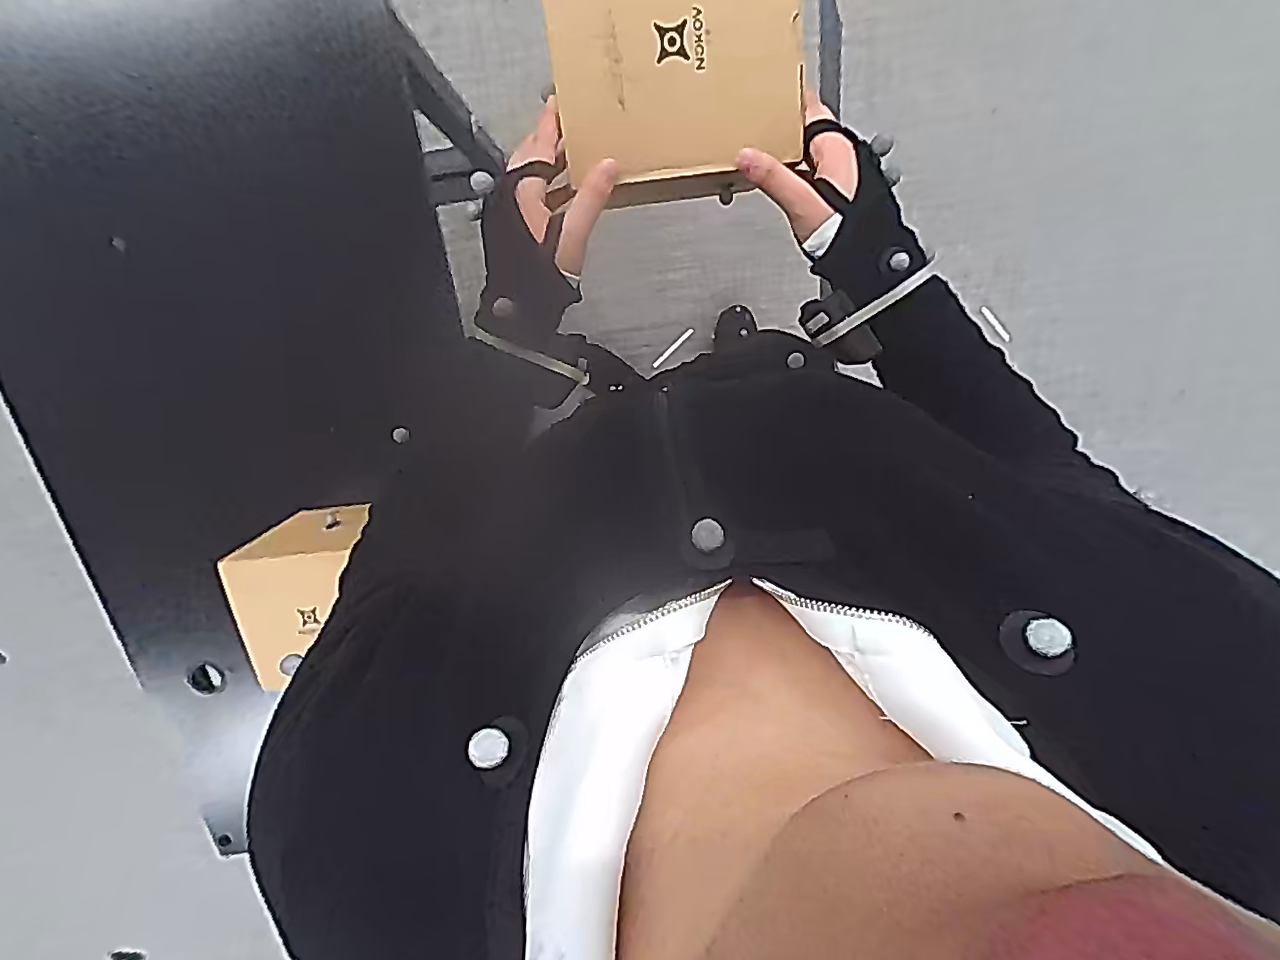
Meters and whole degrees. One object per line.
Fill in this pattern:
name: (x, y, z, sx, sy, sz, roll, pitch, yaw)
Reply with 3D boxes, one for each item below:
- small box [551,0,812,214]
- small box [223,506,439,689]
small box: (0.027, -0.325, 0.443, 0.179, 0.176, 0.168, -7, 110, 0)
small box: (-0.385, 0.141, 0.710, 0.168, 0.176, 0.179, -6, 107, 1)
